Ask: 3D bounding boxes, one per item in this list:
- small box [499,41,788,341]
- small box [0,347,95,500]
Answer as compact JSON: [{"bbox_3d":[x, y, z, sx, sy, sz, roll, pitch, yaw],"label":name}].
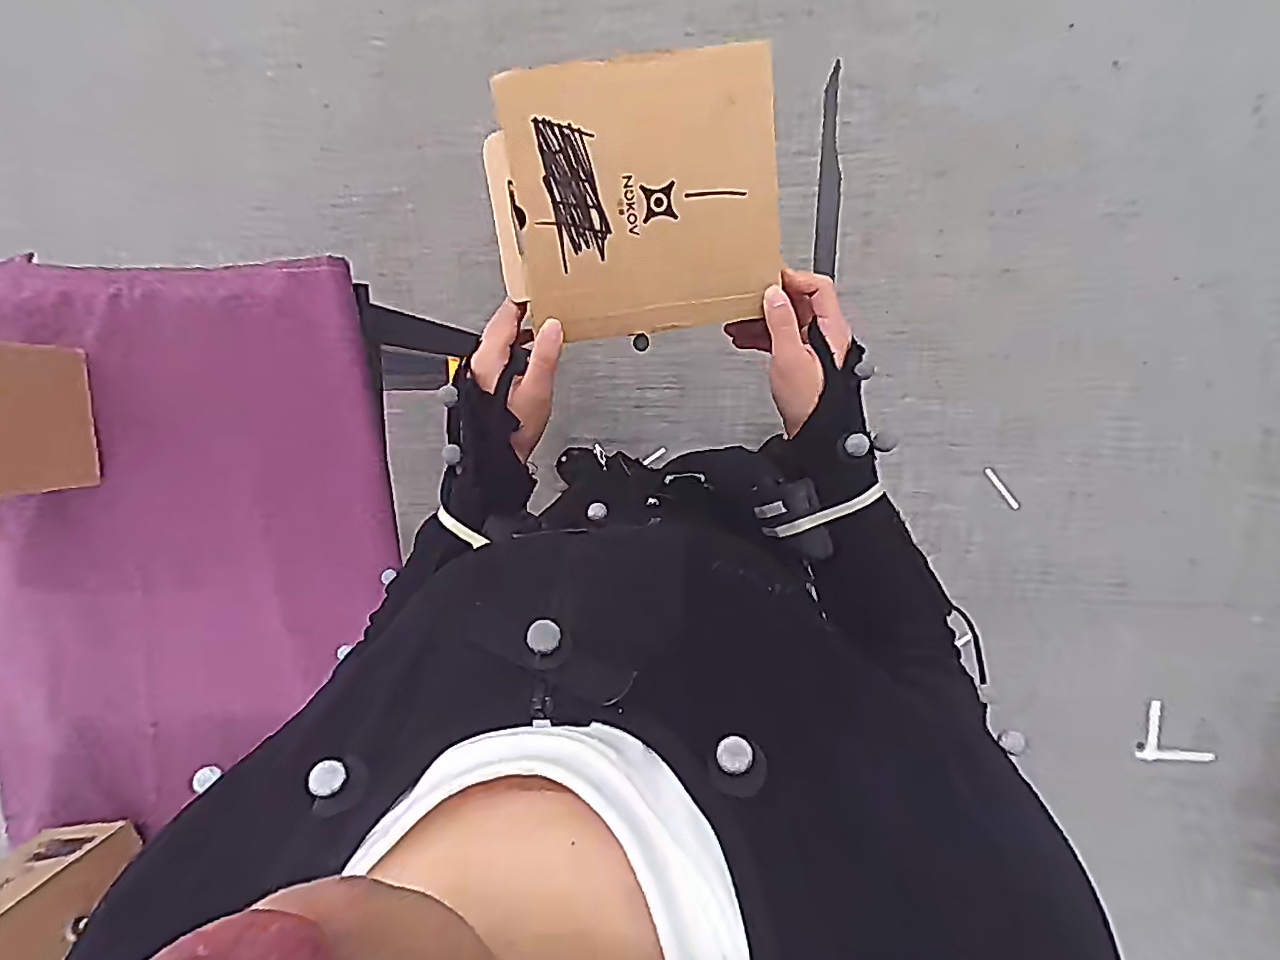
[{"bbox_3d":[0.005,-0.201,0.427,0.179,0.176,0.168,-7,106,-1],"label":"small box"},{"bbox_3d":[-0.795,-0.067,0.624,0.168,0.176,0.179,1,97,5],"label":"small box"}]
